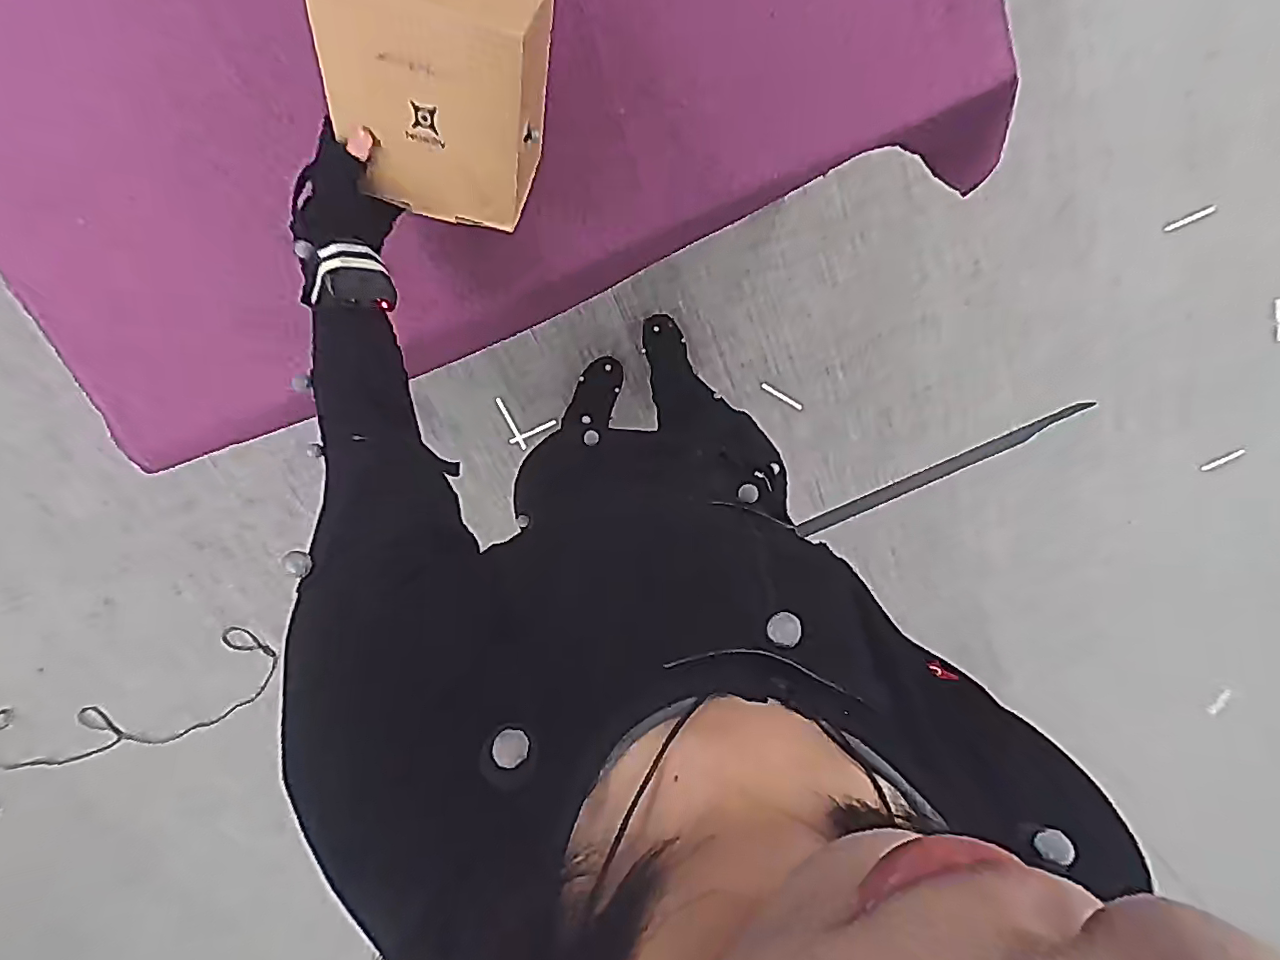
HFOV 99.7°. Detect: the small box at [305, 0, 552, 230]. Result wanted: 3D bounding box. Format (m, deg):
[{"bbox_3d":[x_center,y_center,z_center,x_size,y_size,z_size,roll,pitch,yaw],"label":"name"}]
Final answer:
[{"bbox_3d":[-0.183,-0.384,0.520,0.168,0.176,0.179,10,148,-8],"label":"small box"}]
